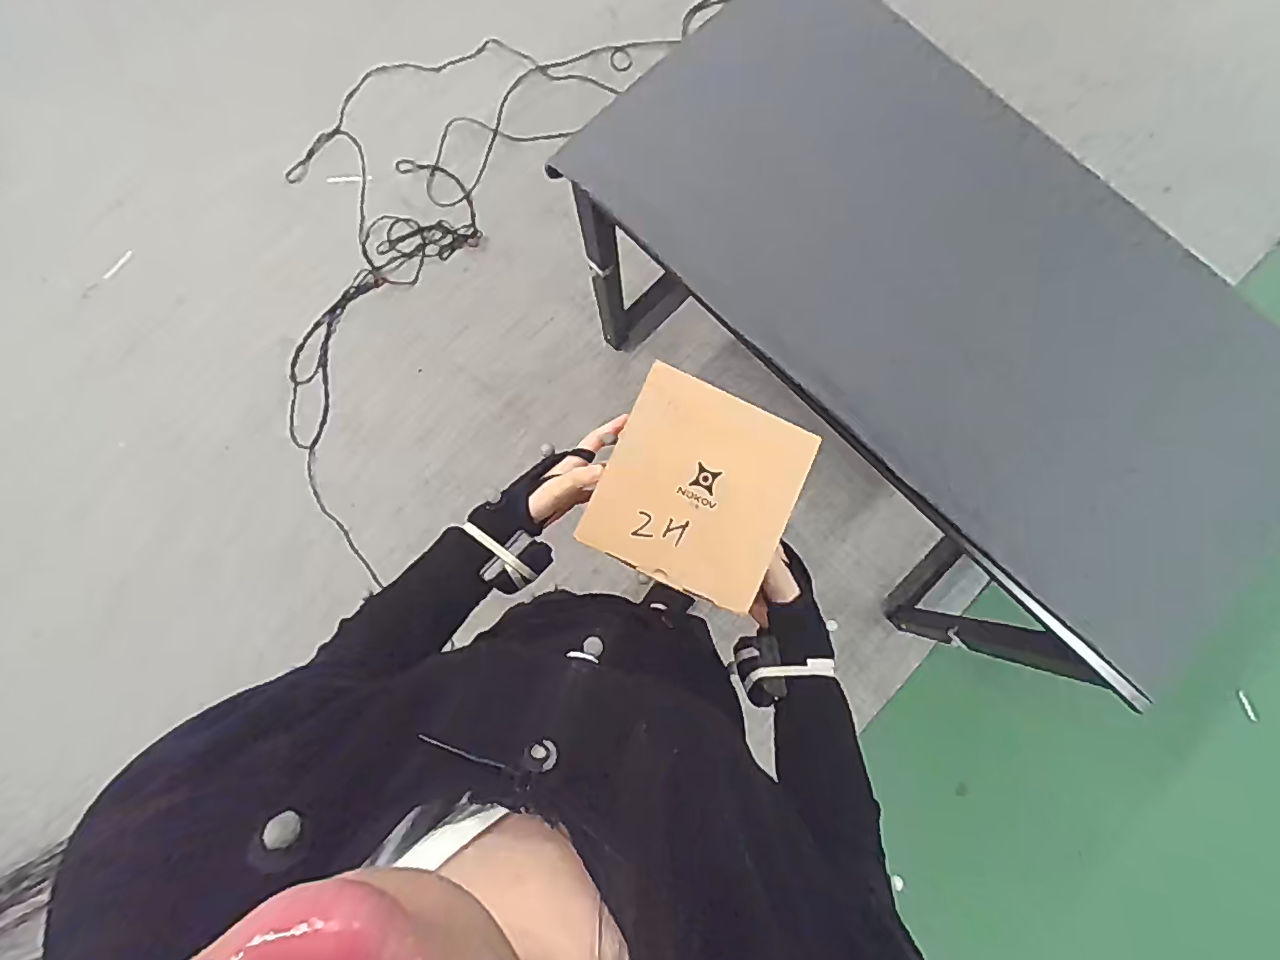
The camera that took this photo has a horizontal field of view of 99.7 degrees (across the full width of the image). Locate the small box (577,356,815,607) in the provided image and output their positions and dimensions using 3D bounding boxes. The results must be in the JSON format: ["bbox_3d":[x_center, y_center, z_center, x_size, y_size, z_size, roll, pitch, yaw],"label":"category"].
[{"bbox_3d":[0.044,0.006,0.554,0.168,0.176,0.179,24,84,-2],"label":"small box"}]
